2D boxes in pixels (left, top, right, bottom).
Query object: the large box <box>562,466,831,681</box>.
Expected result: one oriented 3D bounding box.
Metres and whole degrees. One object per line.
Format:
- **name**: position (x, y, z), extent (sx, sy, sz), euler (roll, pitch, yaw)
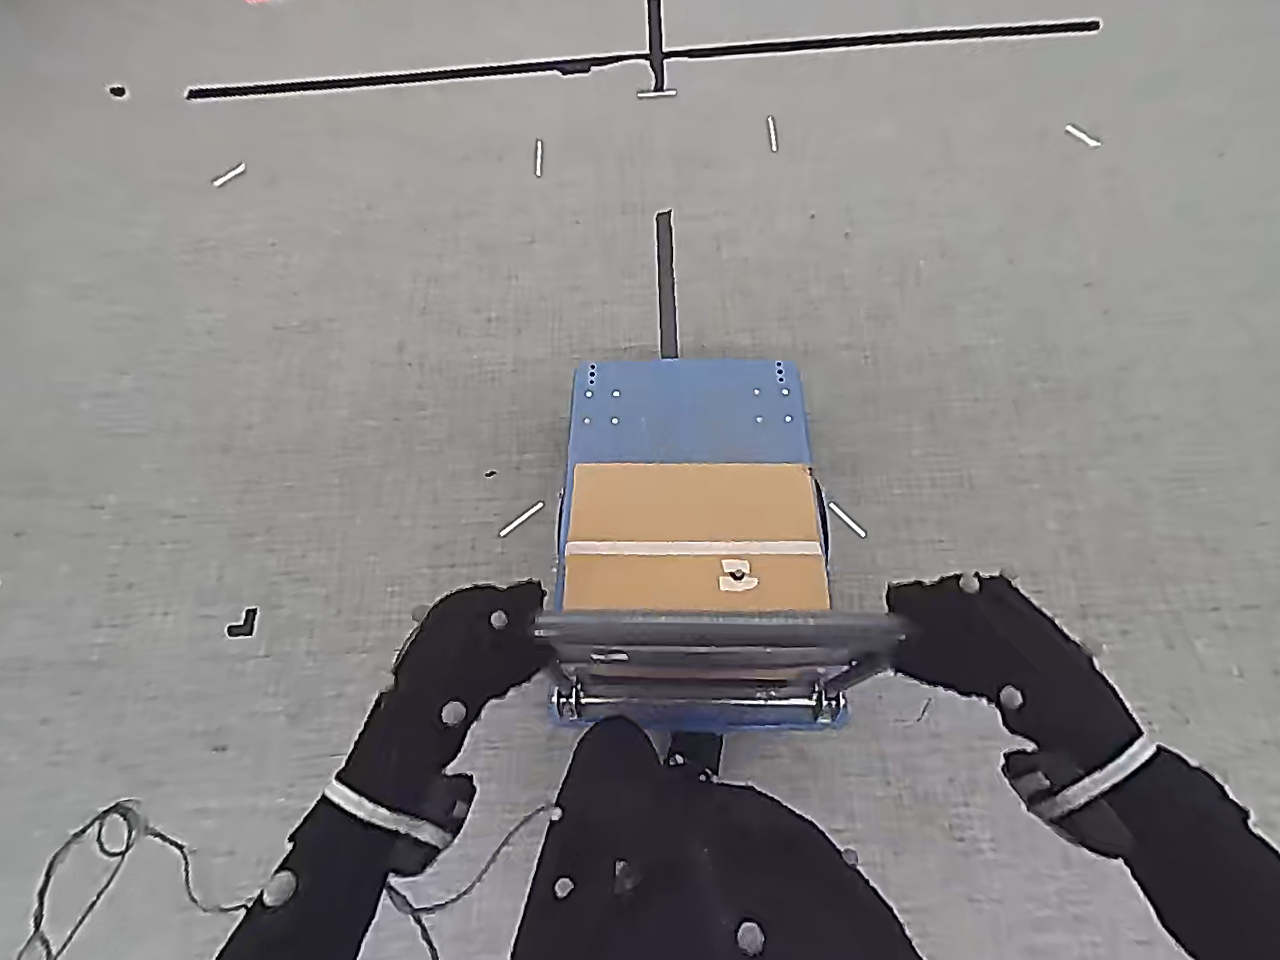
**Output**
- **large box**: position (0.083, 0.182, 0.987), extent (0.408, 0.320, 0.320), euler (0, 63, 1)
